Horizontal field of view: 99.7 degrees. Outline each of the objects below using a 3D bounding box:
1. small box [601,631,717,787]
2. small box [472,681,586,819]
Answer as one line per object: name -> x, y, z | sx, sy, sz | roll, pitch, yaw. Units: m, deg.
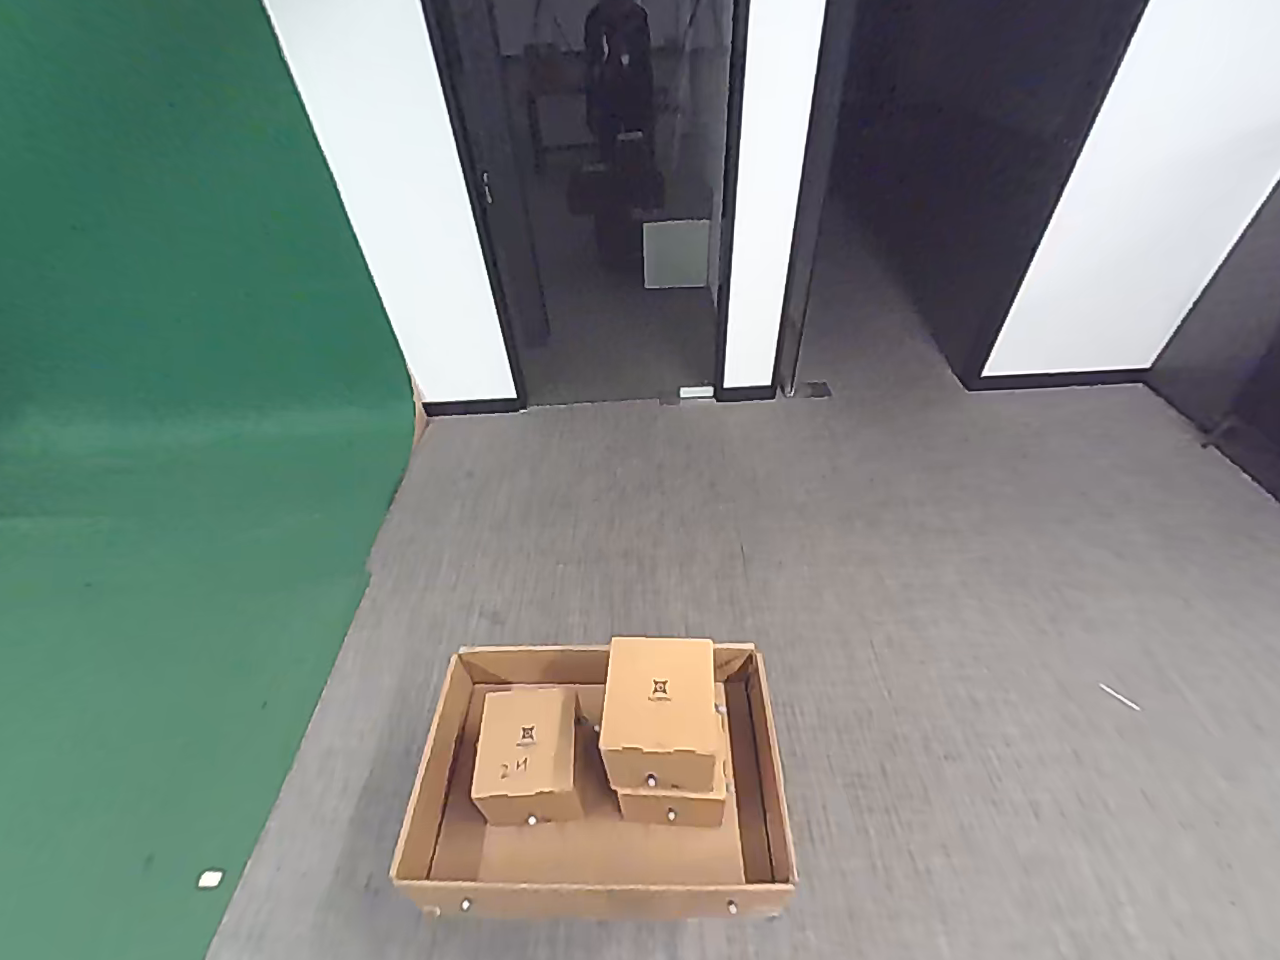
small box -> 0.035, 0.364, 0.866 | 0.168, 0.176, 0.179 | 0, 43, 5
small box -> -0.190, 0.489, 0.982 | 0.168, 0.176, 0.179 | -3, 44, -1
